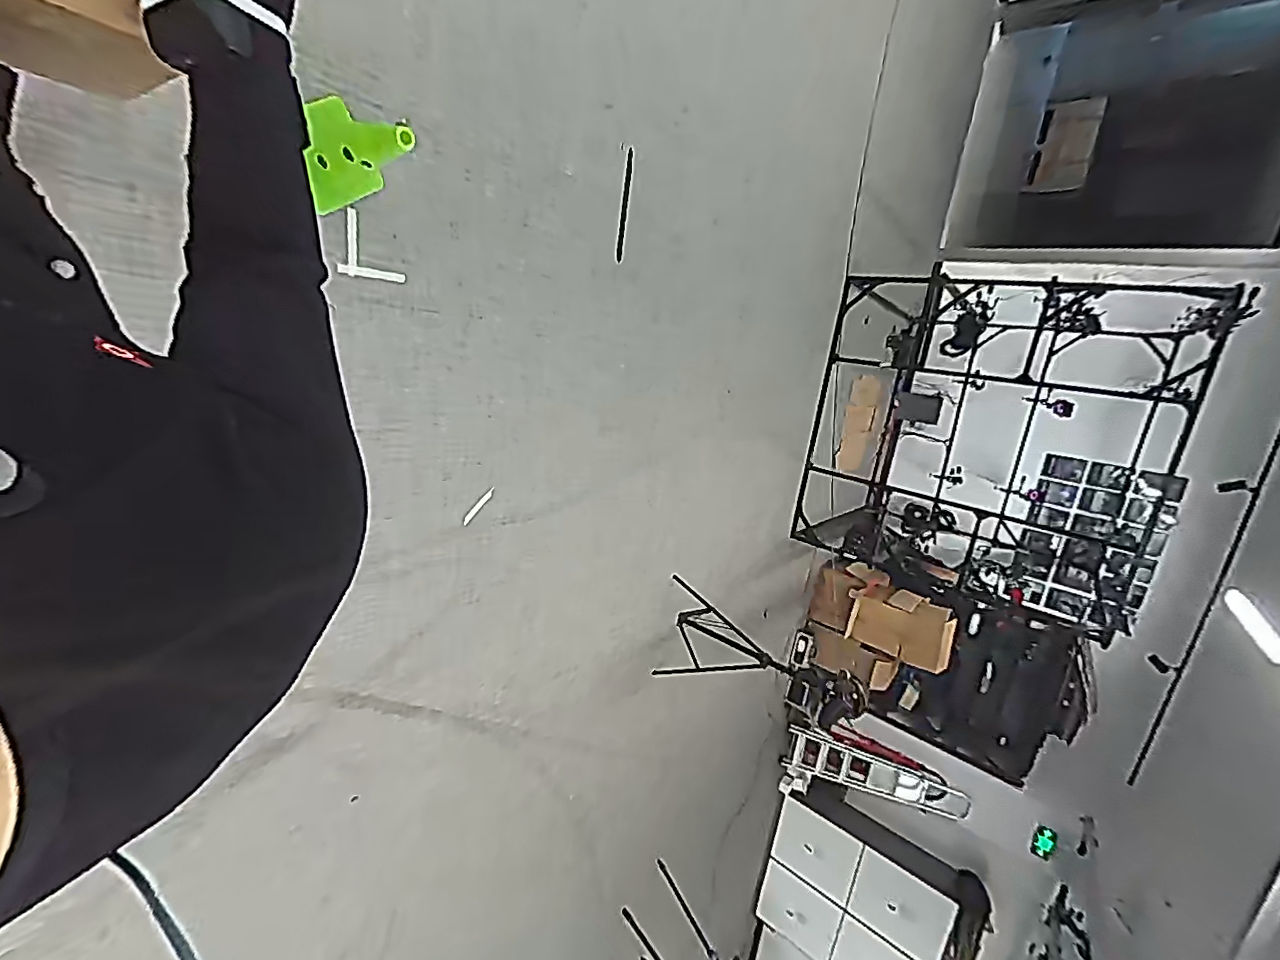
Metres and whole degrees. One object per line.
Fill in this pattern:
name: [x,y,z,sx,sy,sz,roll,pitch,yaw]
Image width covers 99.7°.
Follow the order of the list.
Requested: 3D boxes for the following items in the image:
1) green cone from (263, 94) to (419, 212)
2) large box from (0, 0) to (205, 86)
green cone: [-0.593,-0.713,1.156,0.202,0.368,0.200,-50,140,-30]
large box: [-0.532,-0.487,0.289,0.408,0.320,0.320,-8,115,-51]
